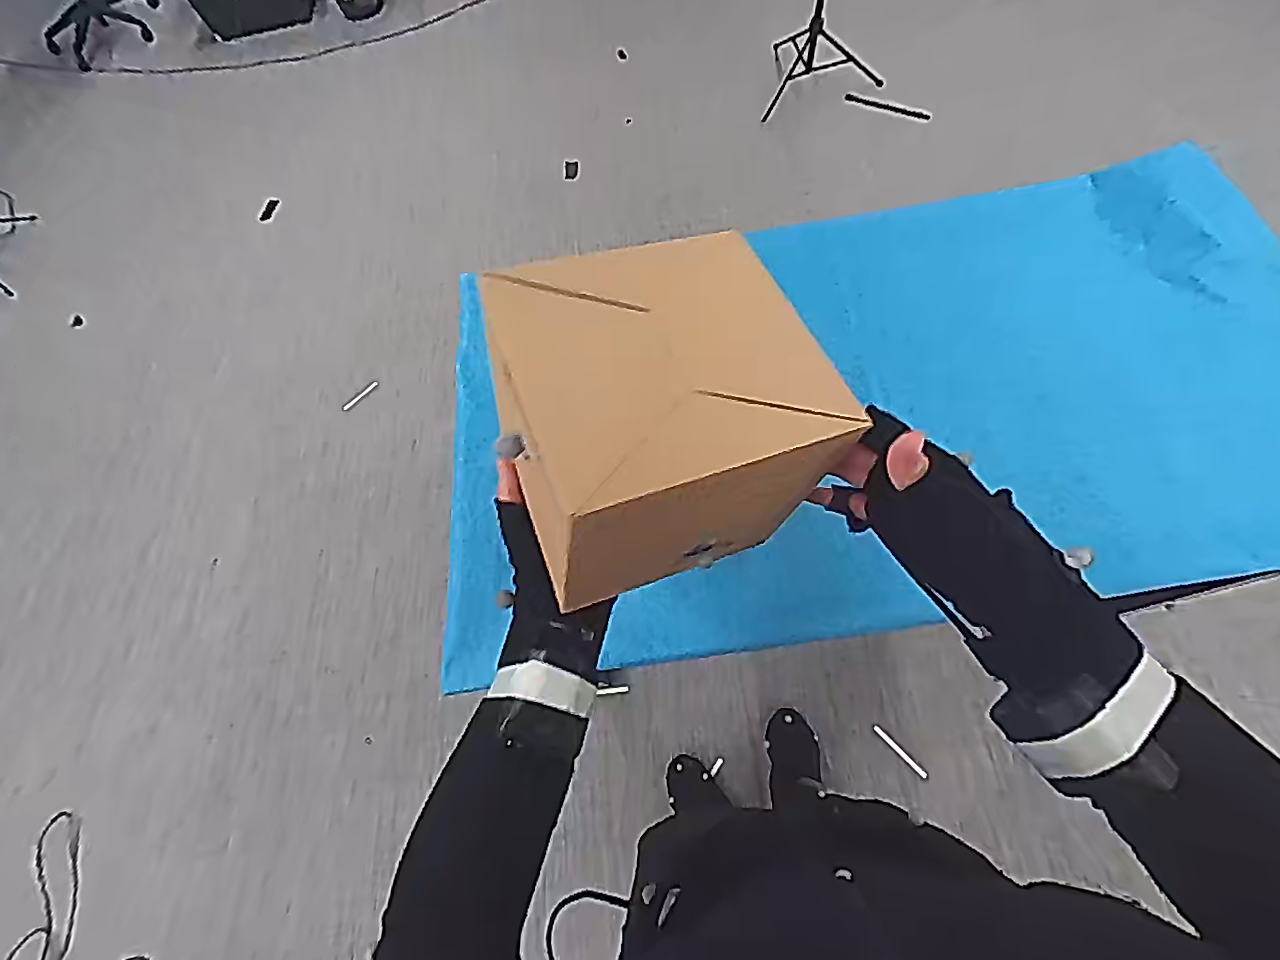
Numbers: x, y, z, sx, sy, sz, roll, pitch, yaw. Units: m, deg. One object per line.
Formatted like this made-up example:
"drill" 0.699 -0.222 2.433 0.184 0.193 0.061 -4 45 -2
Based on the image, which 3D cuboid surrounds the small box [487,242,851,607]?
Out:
"small box" 0.006 -0.036 0.373 0.179 0.176 0.168 -16 65 -18
